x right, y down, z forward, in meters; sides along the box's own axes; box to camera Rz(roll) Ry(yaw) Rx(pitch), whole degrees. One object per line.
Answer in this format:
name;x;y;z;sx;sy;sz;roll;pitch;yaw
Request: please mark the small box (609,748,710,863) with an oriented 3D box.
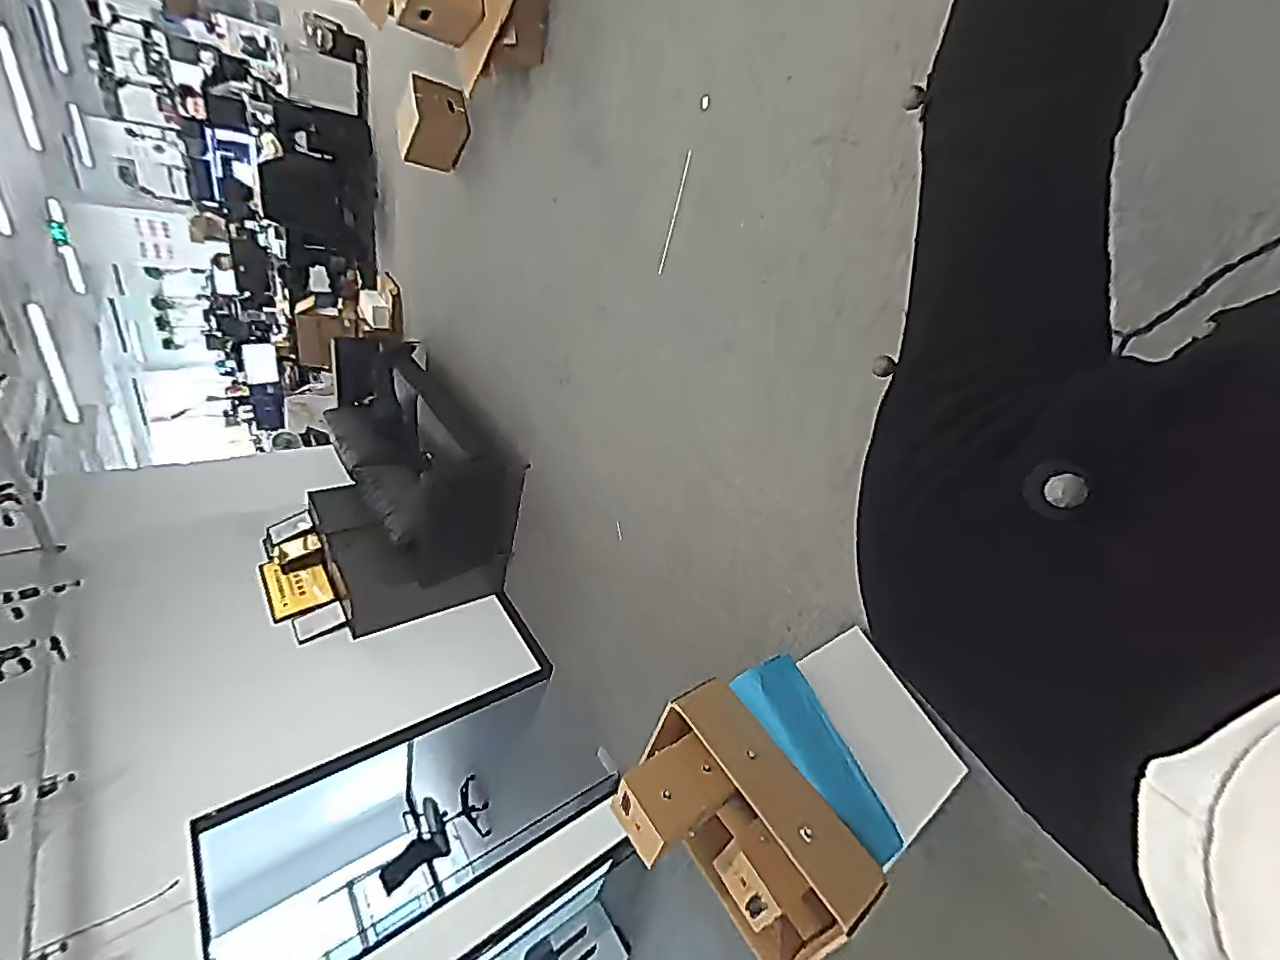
small box;0.049;0.833;1.407;0.179;0.176;0.168;44;133;35
